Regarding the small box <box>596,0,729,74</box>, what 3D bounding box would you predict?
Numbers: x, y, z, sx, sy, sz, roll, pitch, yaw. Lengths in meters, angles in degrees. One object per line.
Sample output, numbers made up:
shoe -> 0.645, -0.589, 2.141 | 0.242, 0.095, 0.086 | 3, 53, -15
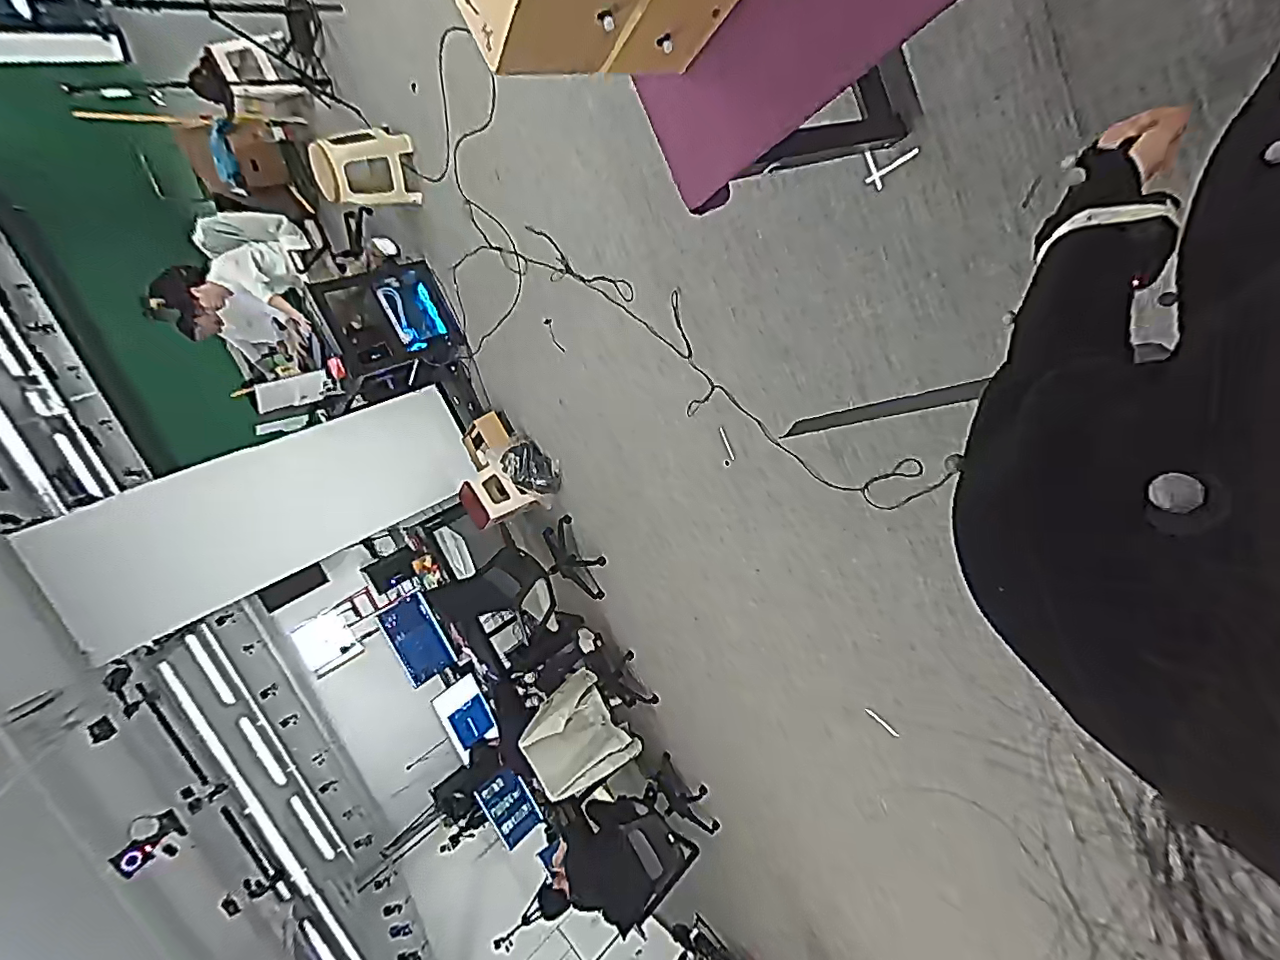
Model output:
small box -> 0.011, -0.681, 0.707 | 0.168, 0.176, 0.179 | -17, 101, 56

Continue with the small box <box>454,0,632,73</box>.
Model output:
small box -> -0.114, -0.616, 0.622 | 0.179, 0.176, 0.168 | -20, 98, 56
